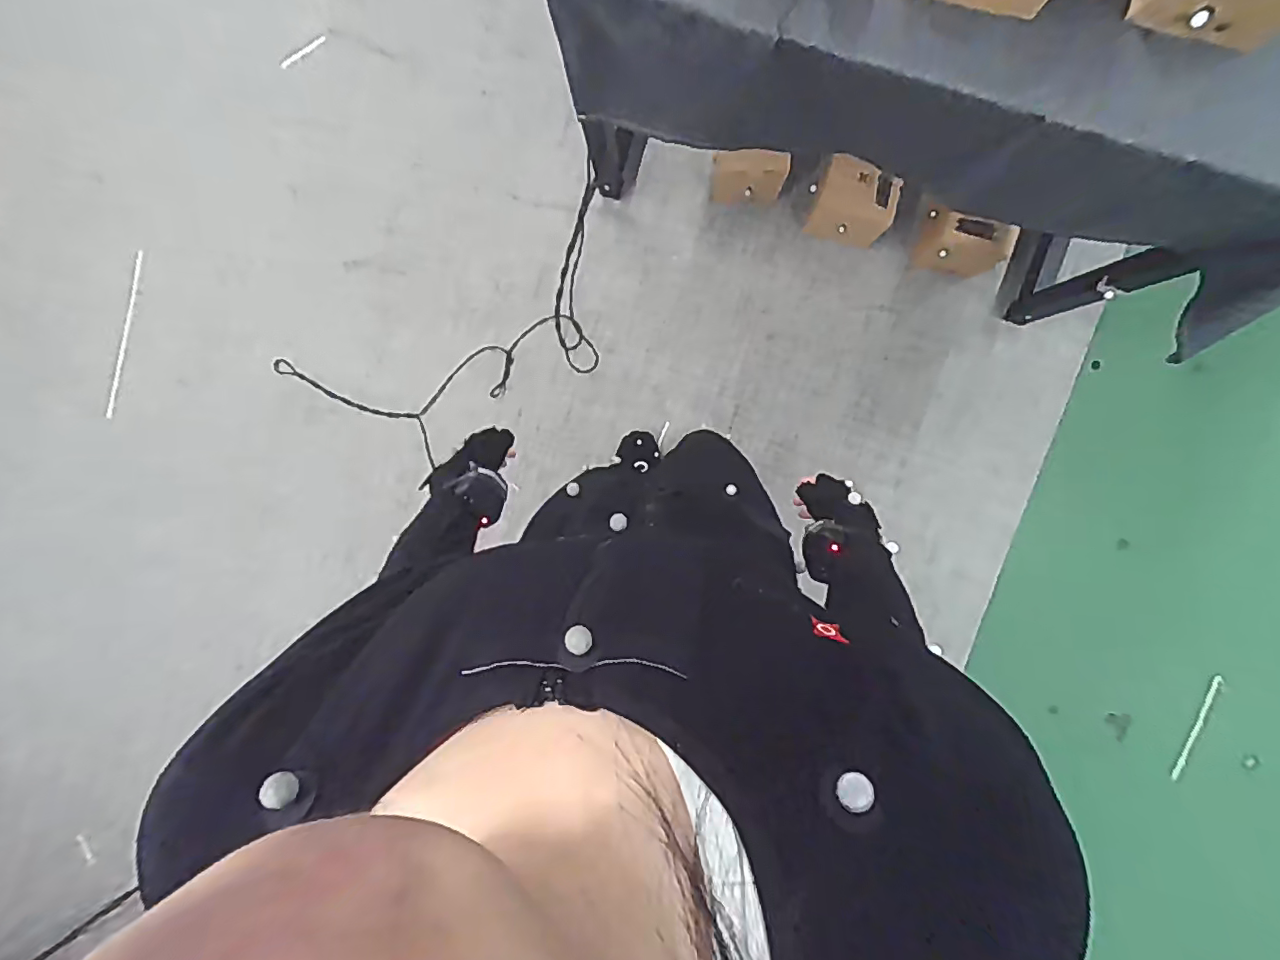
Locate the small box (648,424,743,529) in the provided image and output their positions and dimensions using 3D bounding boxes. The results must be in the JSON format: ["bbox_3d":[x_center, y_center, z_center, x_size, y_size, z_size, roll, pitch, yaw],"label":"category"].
[{"bbox_3d":[0.134,-0.007,1.395,0.179,0.176,0.168,-29,59,-23],"label":"small box"}]

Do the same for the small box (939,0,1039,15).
[{"bbox_3d":[0.430,-0.677,0.606,0.179,0.176,0.168,12,95,0],"label":"small box"}]

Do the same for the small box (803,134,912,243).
[{"bbox_3d":[0.524,-0.703,1.328,0.179,0.176,0.168,15,95,1],"label":"small box"}]

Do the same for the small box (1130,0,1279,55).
[{"bbox_3d":[0.709,-0.633,0.599,0.168,0.176,0.179,15,96,2],"label":"small box"}]
